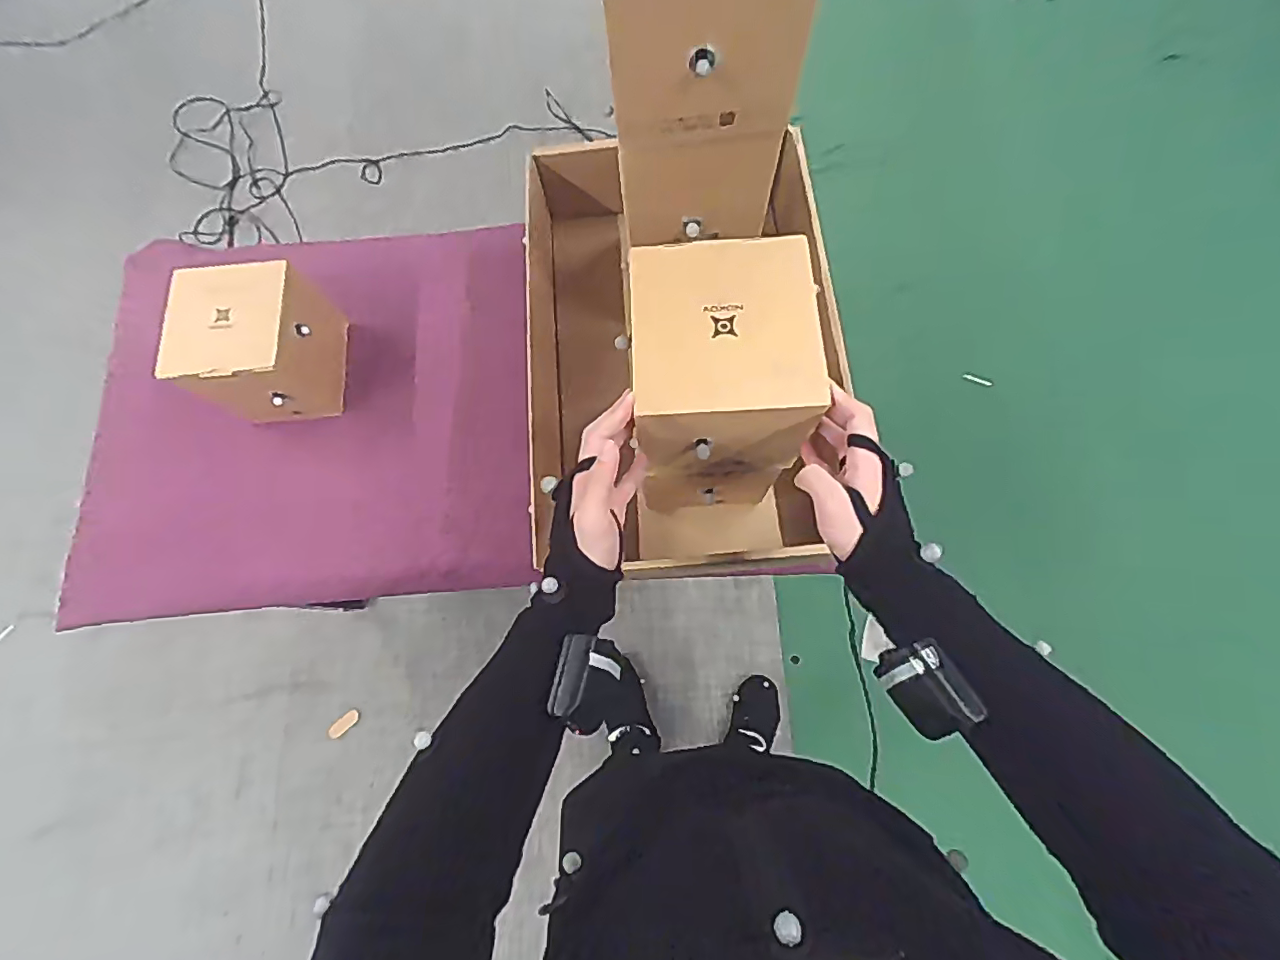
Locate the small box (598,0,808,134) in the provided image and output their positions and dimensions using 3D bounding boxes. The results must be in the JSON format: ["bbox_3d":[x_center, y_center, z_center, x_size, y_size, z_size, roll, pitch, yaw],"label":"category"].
[{"bbox_3d":[0.047,-0.431,0.465,0.168,0.176,0.179,-5,76,2],"label":"small box"}]

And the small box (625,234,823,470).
[{"bbox_3d":[0.076,-0.114,0.550,0.168,0.176,0.179,-3,72,4],"label":"small box"}]

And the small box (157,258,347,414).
[{"bbox_3d":[-0.575,-0.208,0.828,0.168,0.176,0.179,-4,74,0],"label":"small box"}]

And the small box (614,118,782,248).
[{"bbox_3d":[0.055,-0.394,0.626,0.168,0.176,0.179,-6,76,2],"label":"small box"}]
